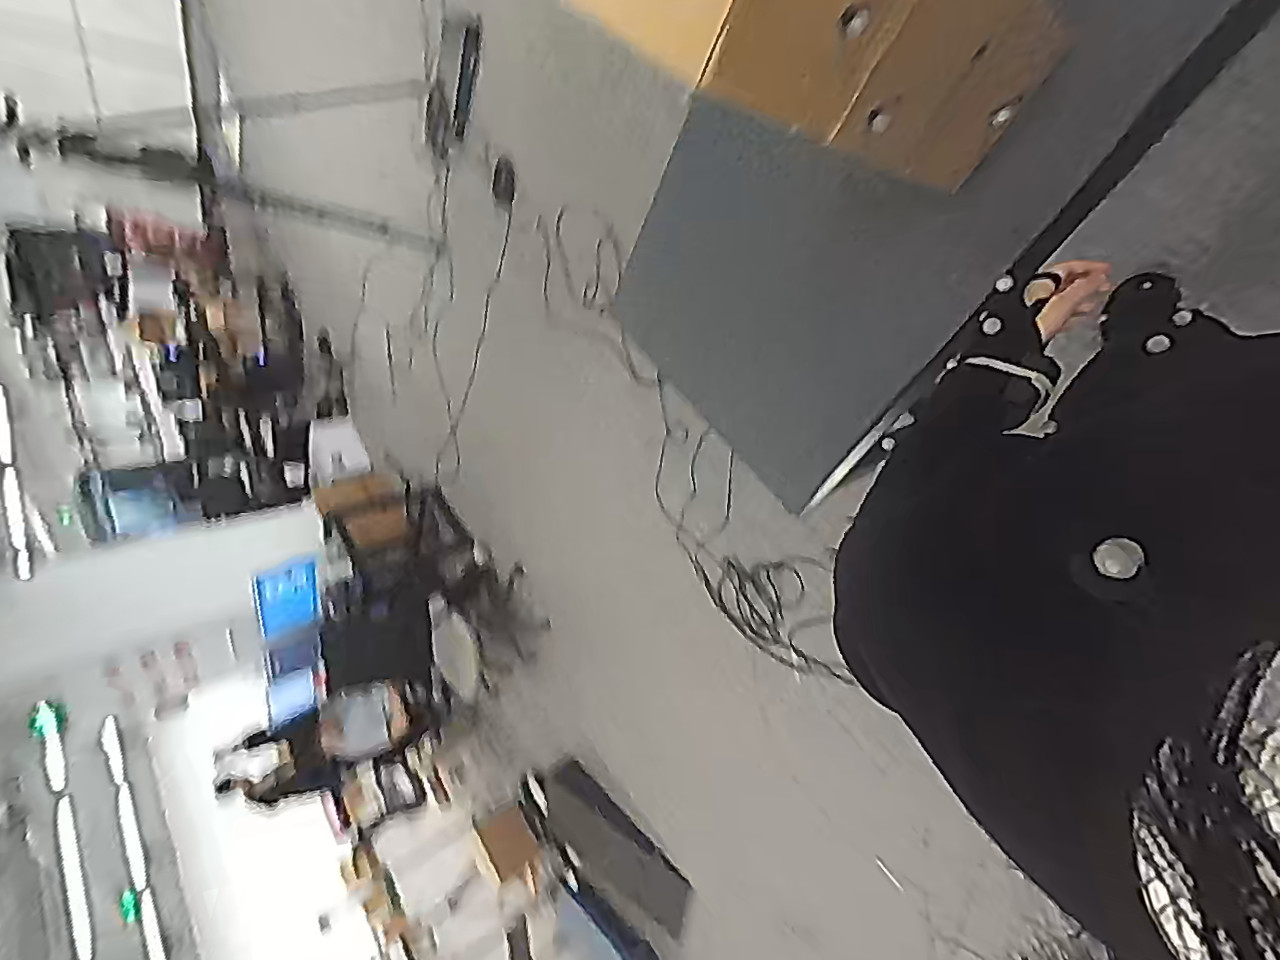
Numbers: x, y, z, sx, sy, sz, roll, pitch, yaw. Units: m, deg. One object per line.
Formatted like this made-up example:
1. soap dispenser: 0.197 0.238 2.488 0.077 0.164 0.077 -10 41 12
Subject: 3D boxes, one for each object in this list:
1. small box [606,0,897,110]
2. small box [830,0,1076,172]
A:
1. small box: 0.077 -0.389 0.370 0.179 0.176 0.168 51 134 25
2. small box: 0.313 -0.461 0.584 0.179 0.176 0.168 52 135 23
